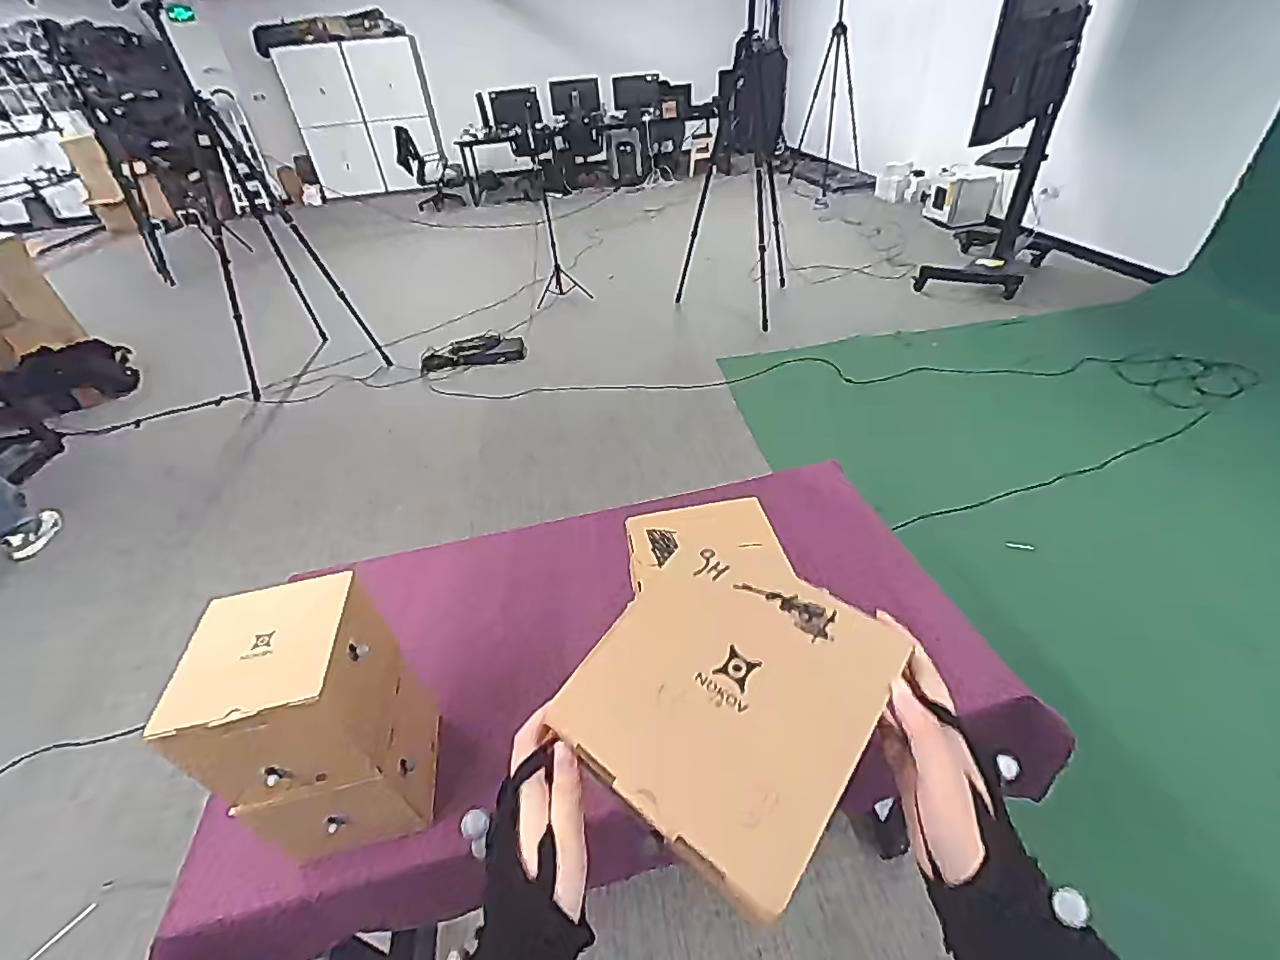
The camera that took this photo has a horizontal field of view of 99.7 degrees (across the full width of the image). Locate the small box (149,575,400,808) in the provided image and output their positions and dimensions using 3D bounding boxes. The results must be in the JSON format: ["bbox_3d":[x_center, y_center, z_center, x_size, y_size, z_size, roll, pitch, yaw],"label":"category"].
[{"bbox_3d":[-0.399,0.245,0.636,0.168,0.176,0.179,-11,39,-7],"label":"small box"}]

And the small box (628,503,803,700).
[{"bbox_3d":[0.088,0.155,0.686,0.179,0.176,0.168,-9,39,-4],"label":"small box"}]
